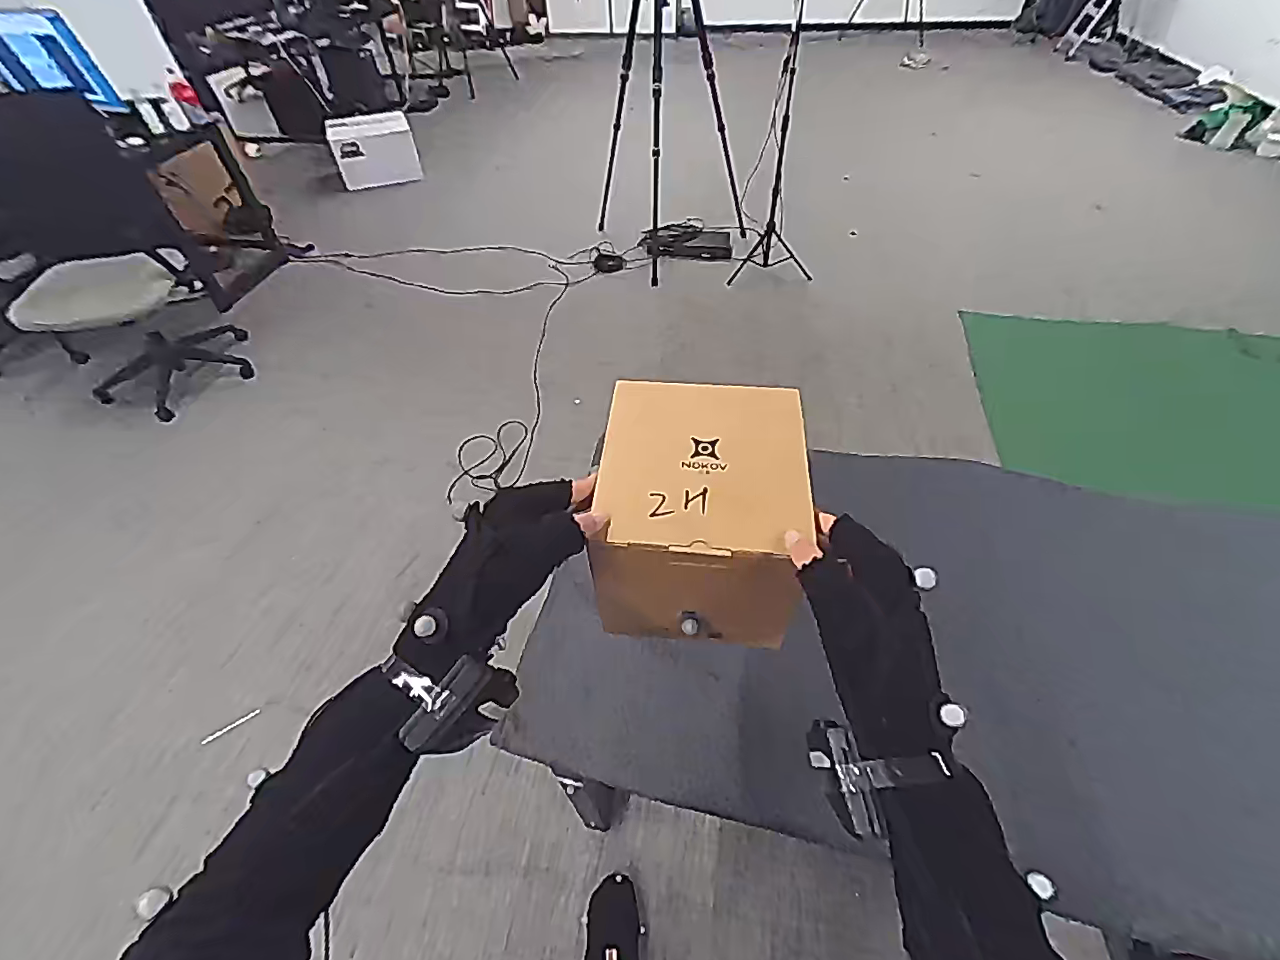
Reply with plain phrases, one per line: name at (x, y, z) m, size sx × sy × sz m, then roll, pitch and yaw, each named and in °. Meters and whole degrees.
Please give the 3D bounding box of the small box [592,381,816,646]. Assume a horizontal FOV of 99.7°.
small box at (0.055, 0.032, 0.502) m, size 0.168 × 0.176 × 0.179 m, roll 4°, pitch 51°, yaw 5°
